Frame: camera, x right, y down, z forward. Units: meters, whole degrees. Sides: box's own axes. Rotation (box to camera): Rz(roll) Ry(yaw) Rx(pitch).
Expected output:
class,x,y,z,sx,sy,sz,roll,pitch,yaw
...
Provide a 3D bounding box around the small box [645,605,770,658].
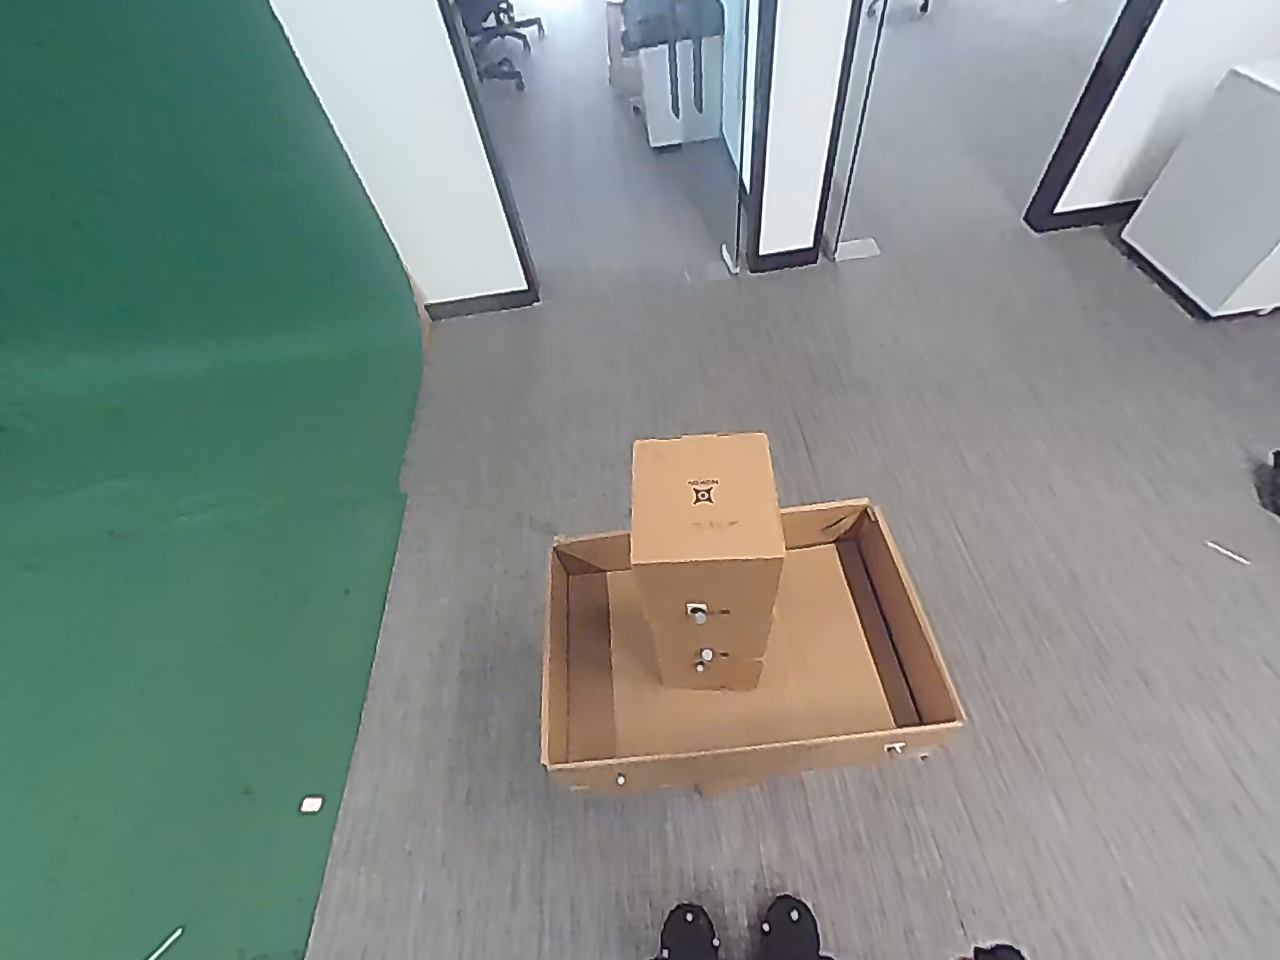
class,x,y,z,sx,sy,sz,roll,pitch,yaw
small box,0.096,0.156,0.817,0.168,0.176,0.179,-3,54,5

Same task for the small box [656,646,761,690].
class,x,y,z,sx,sy,sz,roll,pitch,yaw
small box,0.118,0.252,0.948,0.168,0.176,0.179,-1,53,7

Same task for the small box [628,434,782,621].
class,x,y,z,sx,sy,sz,roll,pitch,yaw
small box,0.077,0.064,0.686,0.168,0.176,0.179,-4,54,5
